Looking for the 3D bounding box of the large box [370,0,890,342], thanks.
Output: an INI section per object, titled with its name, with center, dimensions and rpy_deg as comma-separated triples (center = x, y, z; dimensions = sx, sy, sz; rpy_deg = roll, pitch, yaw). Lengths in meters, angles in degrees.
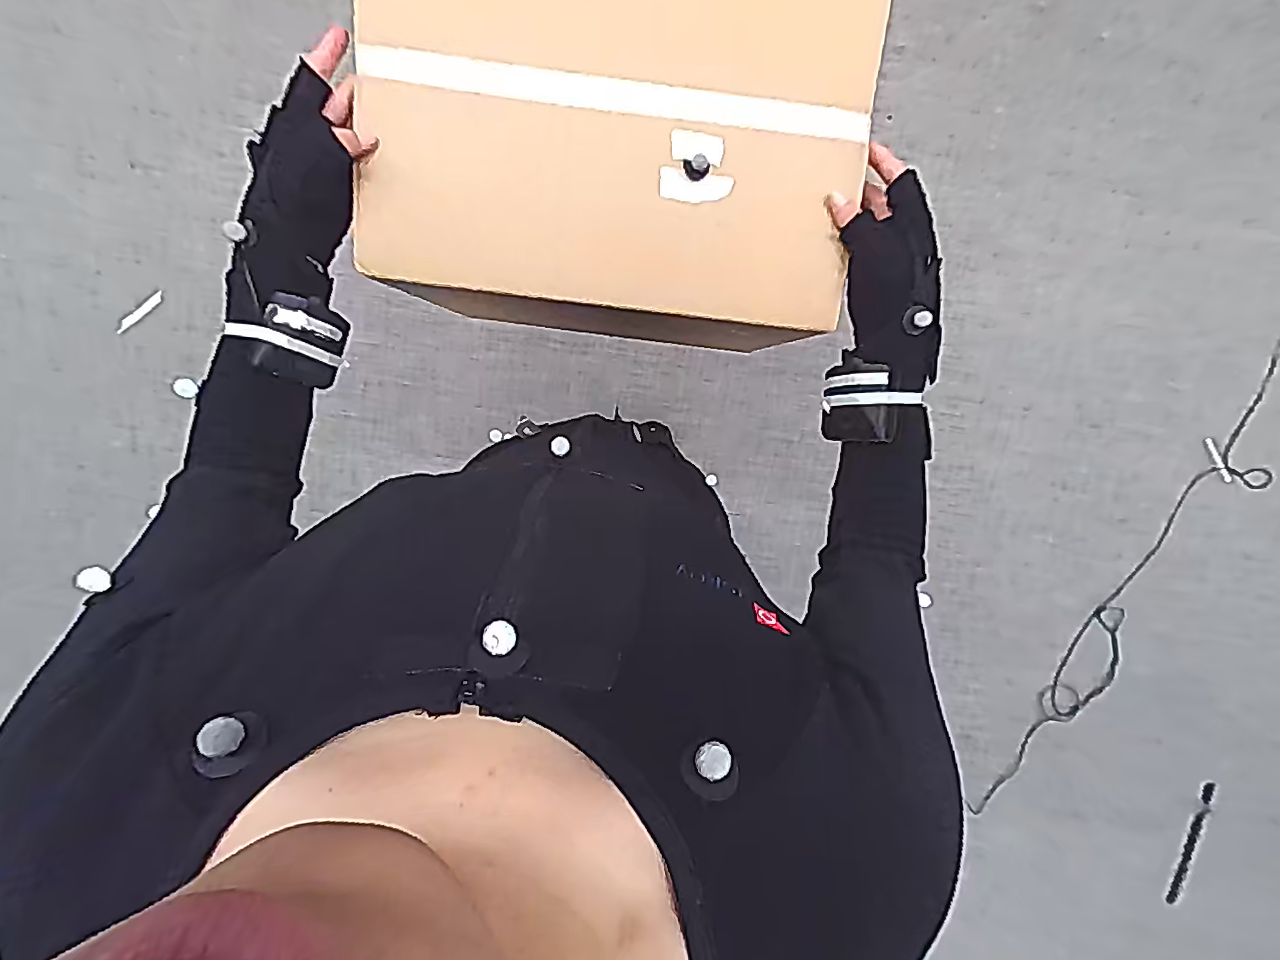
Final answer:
[large box]
center = -0.017, -0.332, 0.572
dimensions = 0.408, 0.320, 0.320
rpy_deg = 6, 100, -4
